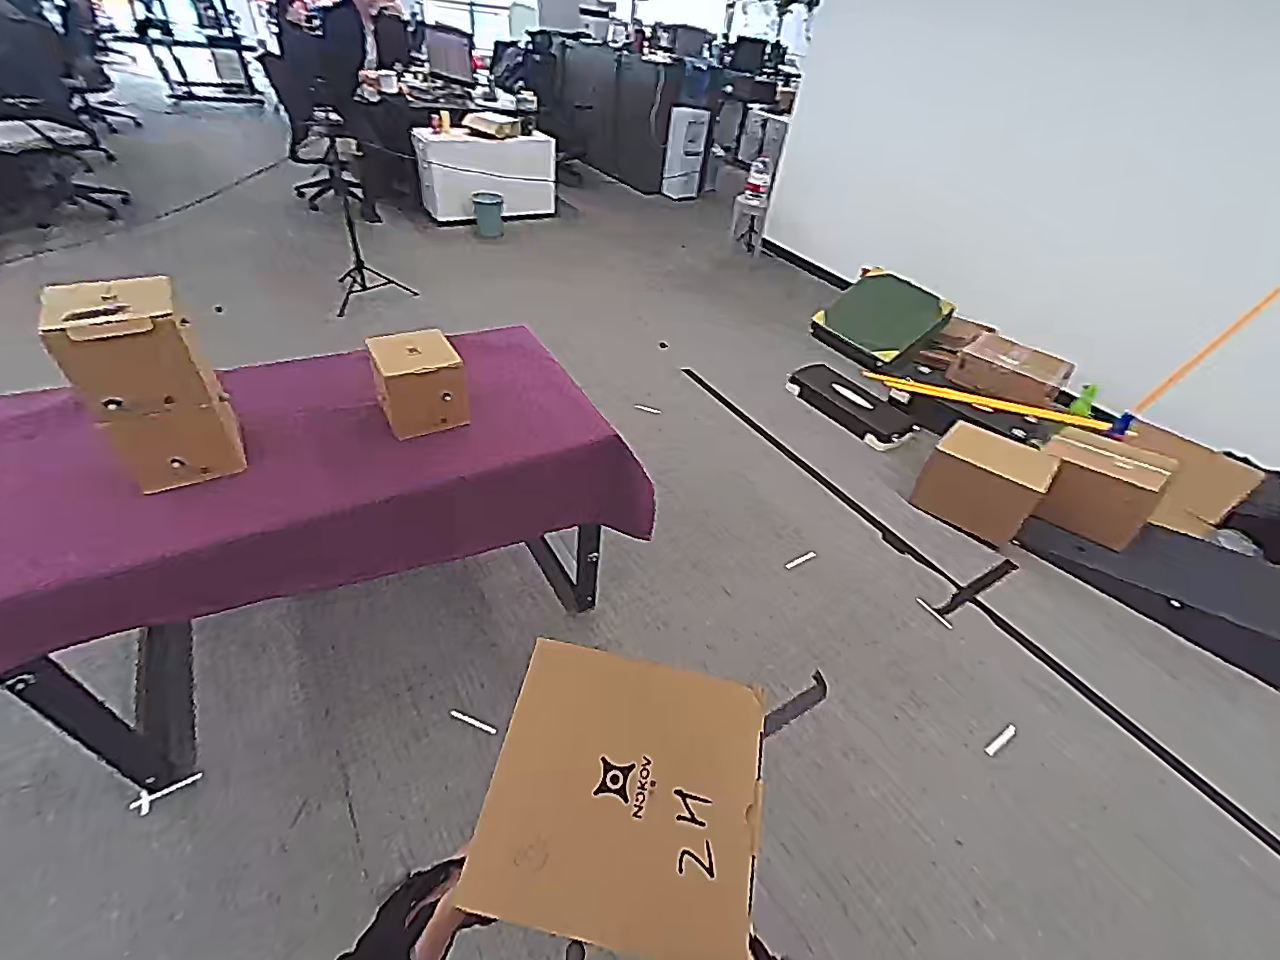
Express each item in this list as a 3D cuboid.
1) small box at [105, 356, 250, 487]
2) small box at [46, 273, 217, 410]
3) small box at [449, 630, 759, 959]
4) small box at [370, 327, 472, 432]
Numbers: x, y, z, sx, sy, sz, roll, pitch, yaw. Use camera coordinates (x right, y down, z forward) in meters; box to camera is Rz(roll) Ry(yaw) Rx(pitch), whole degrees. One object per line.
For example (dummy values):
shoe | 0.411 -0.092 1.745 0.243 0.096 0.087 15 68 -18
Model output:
small box | -0.889 -0.115 1.051 0.168 0.176 0.179 -19 49 -28
small box | -0.871 -0.237 0.942 0.168 0.176 0.179 -20 49 -29
small box | -0.018 0.241 0.423 0.179 0.176 0.168 12 55 4
small box | -0.497 -0.227 1.241 0.168 0.176 0.179 -18 48 -28
